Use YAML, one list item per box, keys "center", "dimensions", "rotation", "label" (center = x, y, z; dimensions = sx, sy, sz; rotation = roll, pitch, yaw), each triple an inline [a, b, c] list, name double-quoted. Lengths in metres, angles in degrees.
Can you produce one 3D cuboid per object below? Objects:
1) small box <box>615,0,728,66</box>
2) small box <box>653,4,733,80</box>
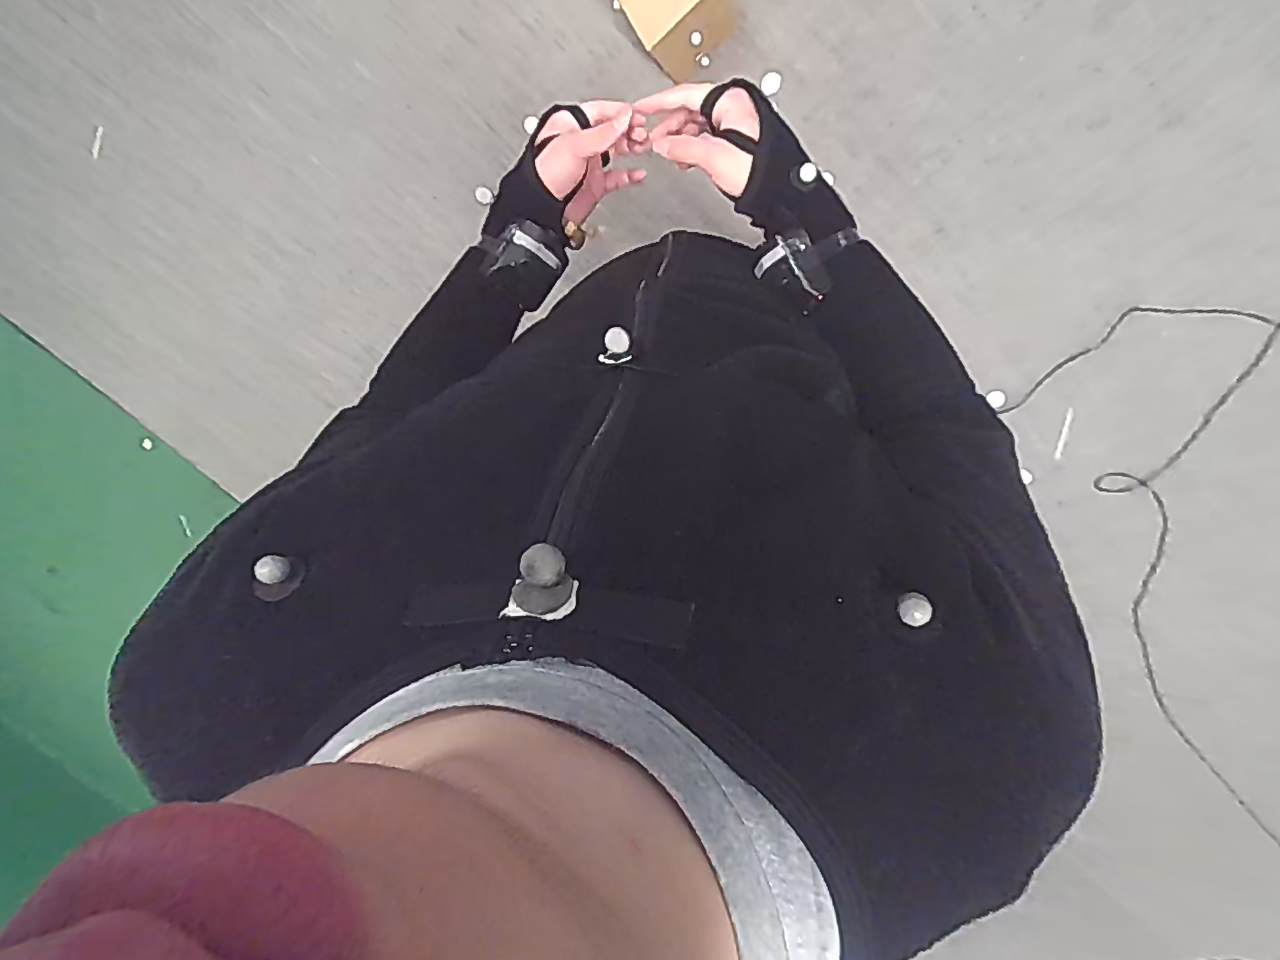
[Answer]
- center: [0.041, -0.887, 0.959]
  dimensions: [0.168, 0.176, 0.179]
  rotation: [-28, 109, 26]
  label: "small box"
- center: [0.074, -0.963, 1.102]
  dimensions: [0.168, 0.176, 0.179]
  rotation: [-29, 109, 26]
  label: "small box"
